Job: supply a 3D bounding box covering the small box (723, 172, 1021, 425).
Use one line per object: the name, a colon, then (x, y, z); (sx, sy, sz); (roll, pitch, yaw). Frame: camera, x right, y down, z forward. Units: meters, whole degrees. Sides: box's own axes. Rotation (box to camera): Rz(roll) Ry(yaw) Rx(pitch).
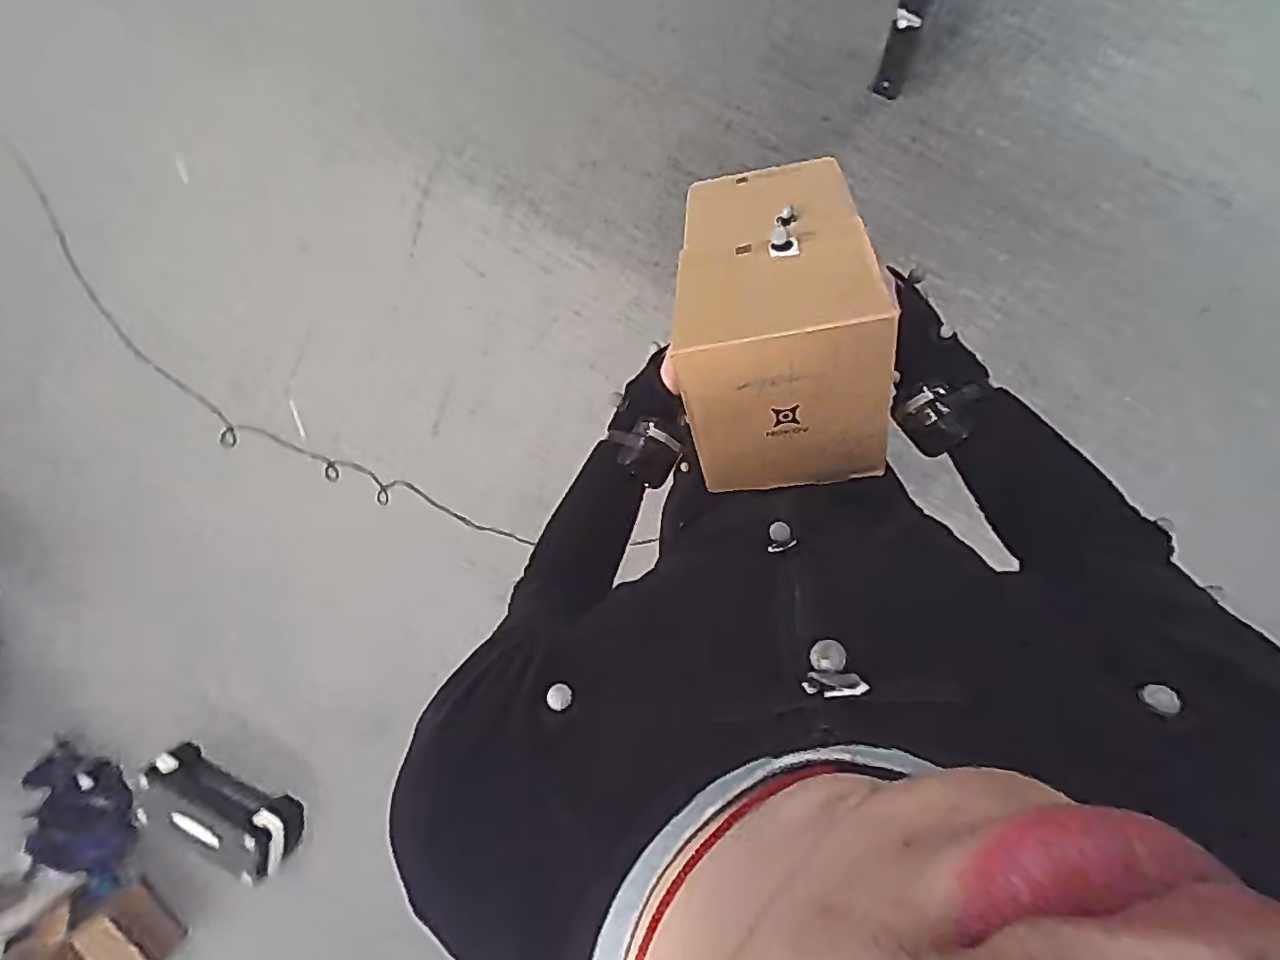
small box: (0.206, -0.176, 0.519); (0.179, 0.168, 0.176); (8, 122, -14)
